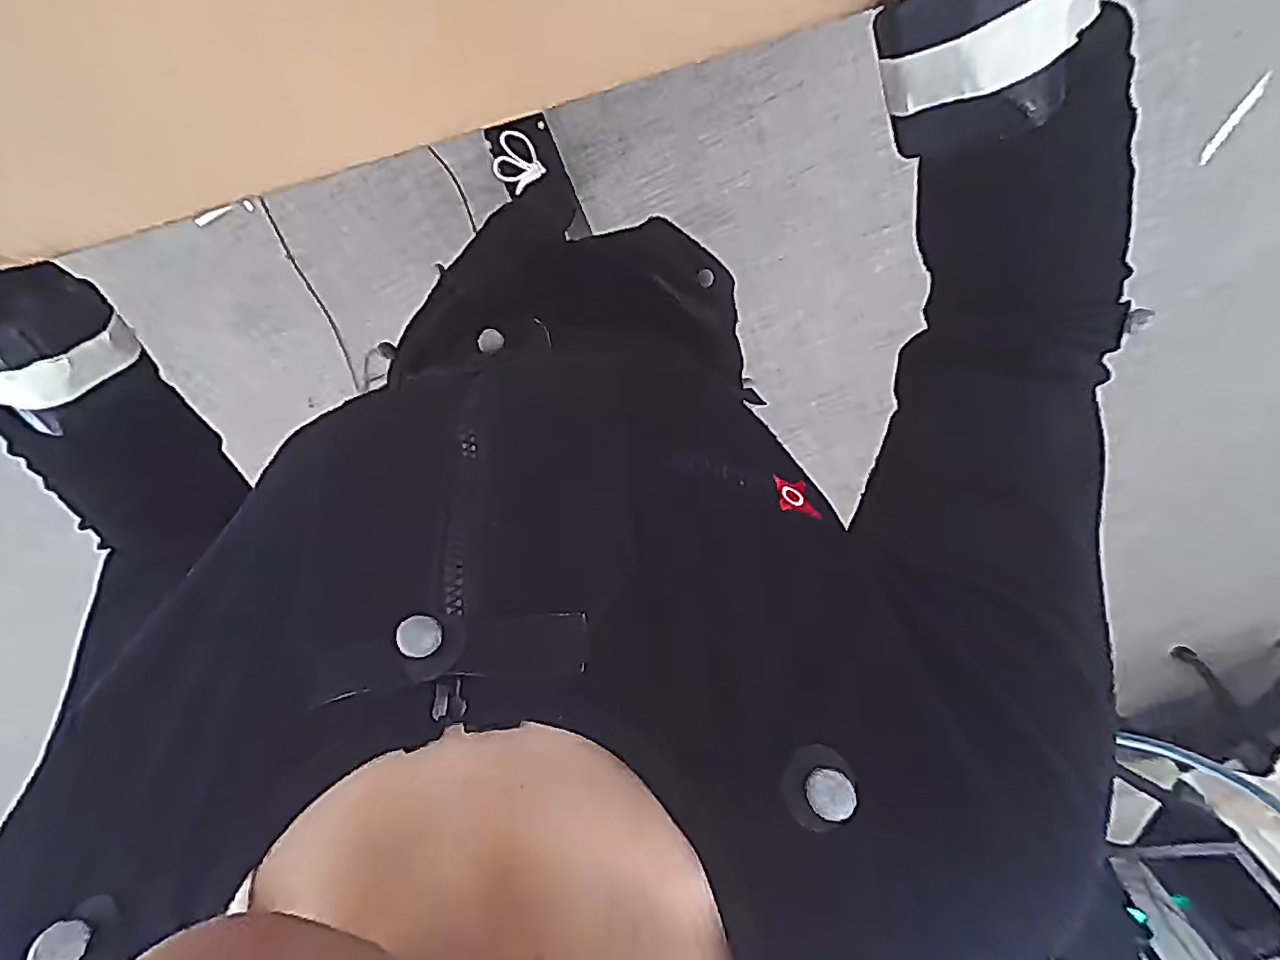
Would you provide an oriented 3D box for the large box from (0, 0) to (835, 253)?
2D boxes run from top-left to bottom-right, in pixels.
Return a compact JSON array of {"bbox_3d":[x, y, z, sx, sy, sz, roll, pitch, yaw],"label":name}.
[{"bbox_3d":[-0.145,-0.357,0.205,0.408,0.320,0.320,-13,142,5],"label":"large box"}]
